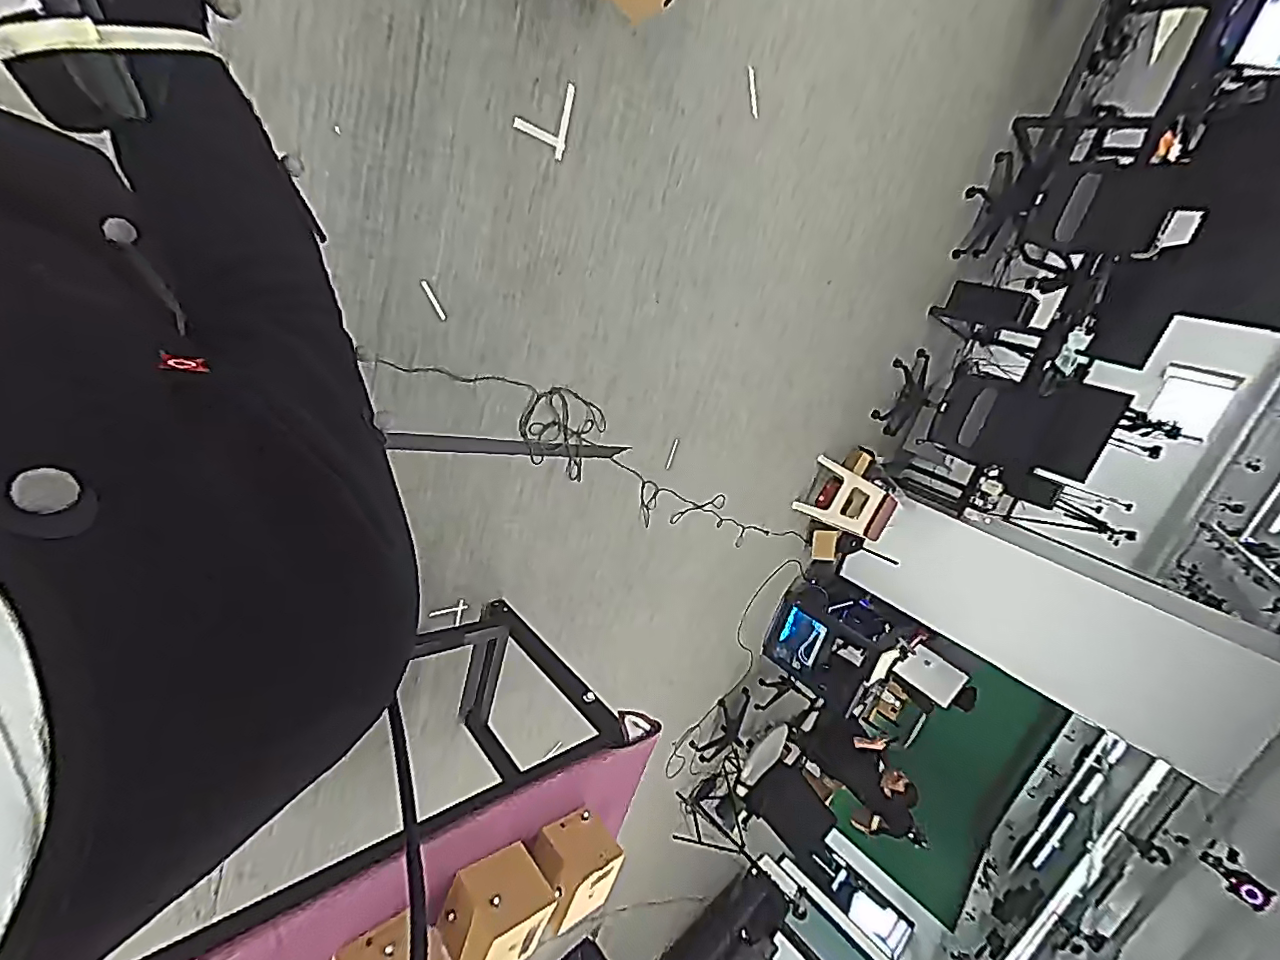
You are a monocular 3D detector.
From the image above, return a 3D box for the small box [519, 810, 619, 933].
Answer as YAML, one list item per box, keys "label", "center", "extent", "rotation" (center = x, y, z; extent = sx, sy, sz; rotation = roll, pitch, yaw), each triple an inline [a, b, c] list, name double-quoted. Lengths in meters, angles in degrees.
- label: "small box"
  center: [-0.189, 1.001, 1.407]
  extent: [0.168, 0.176, 0.179]
  rotation: [7, 109, -50]

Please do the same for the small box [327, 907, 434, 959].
- label: "small box"
  center: [-0.506, 0.998, 1.050]
  extent: [0.168, 0.176, 0.179]
  rotation: [0, 114, -48]
